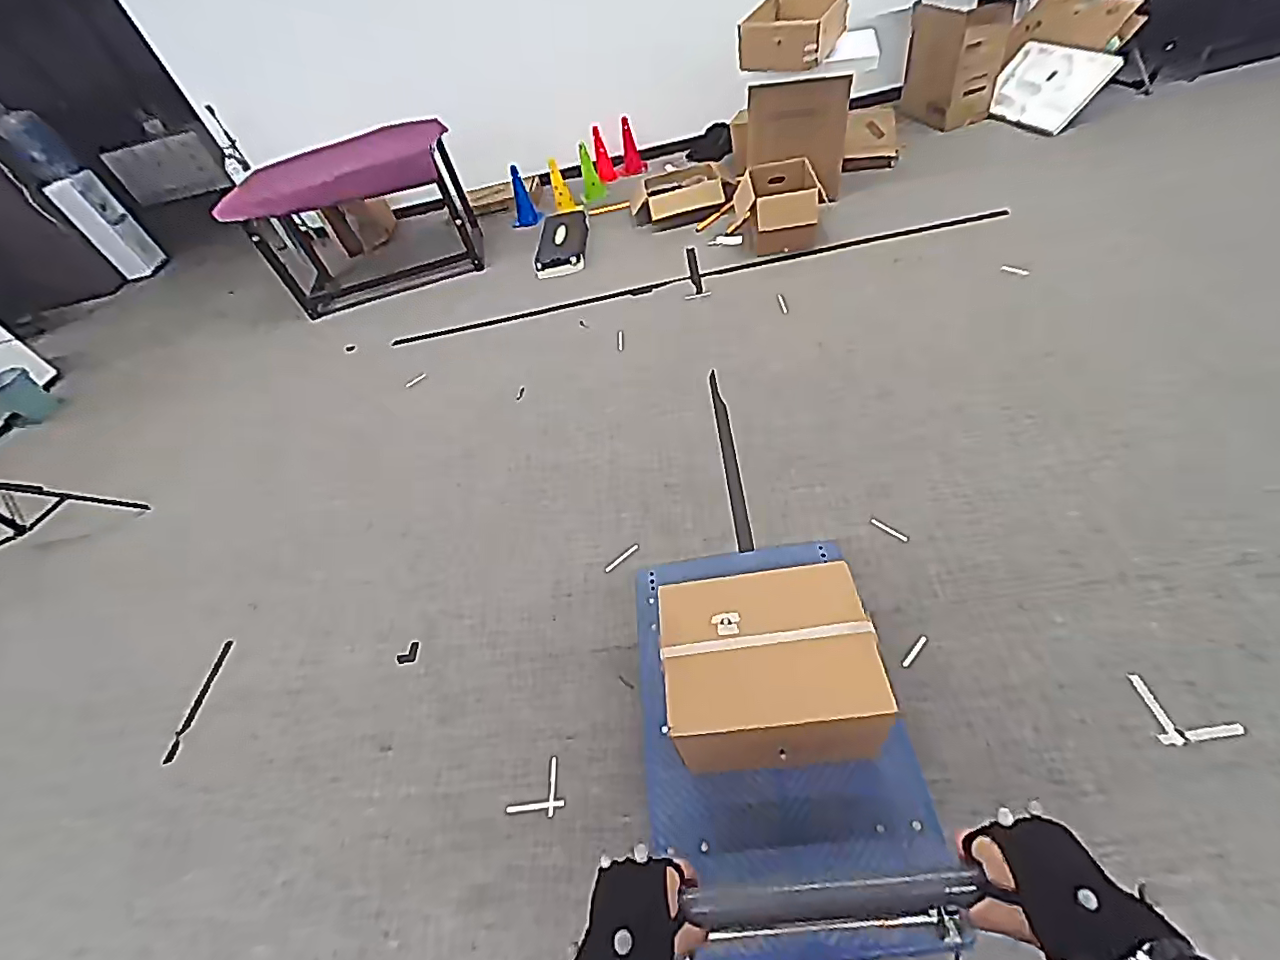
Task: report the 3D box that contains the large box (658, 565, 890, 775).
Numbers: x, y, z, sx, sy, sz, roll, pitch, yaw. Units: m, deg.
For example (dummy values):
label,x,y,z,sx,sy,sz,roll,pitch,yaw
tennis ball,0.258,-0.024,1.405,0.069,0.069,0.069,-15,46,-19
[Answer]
label,x,y,z,sx,sy,sz,roll,pitch,yaw
large box,0.274,0.426,1.186,0.408,0.320,0.320,-10,47,7
